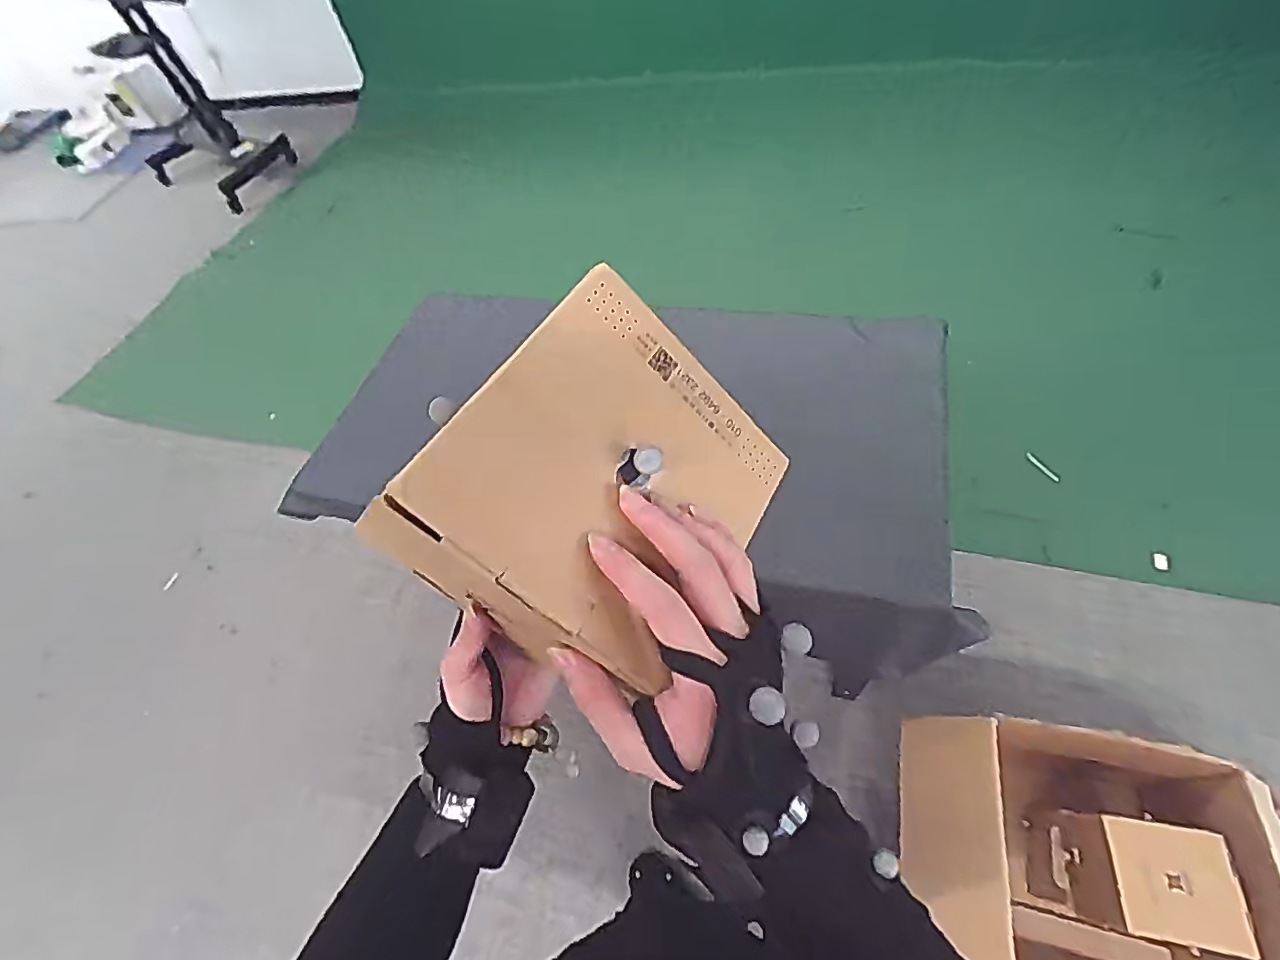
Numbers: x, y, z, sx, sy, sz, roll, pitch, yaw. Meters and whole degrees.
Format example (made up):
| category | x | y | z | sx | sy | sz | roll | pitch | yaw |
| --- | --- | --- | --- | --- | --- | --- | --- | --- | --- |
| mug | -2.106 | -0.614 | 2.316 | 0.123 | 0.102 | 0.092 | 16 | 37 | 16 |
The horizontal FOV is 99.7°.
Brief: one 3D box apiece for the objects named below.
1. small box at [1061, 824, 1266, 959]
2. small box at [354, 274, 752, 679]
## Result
| category | x | y | z | sx | sy | sz | roll | pitch | yaw |
| --- | --- | --- | --- | --- | --- | --- | --- | --- | --- |
| small box | 0.867 | 0.694 | 0.916 | 0.179 | 0.176 | 0.168 | 3 | 59 | 13 |
| small box | -0.049 | 0.003 | 0.354 | 0.179 | 0.168 | 0.176 | -19 | 31 | 56 |
